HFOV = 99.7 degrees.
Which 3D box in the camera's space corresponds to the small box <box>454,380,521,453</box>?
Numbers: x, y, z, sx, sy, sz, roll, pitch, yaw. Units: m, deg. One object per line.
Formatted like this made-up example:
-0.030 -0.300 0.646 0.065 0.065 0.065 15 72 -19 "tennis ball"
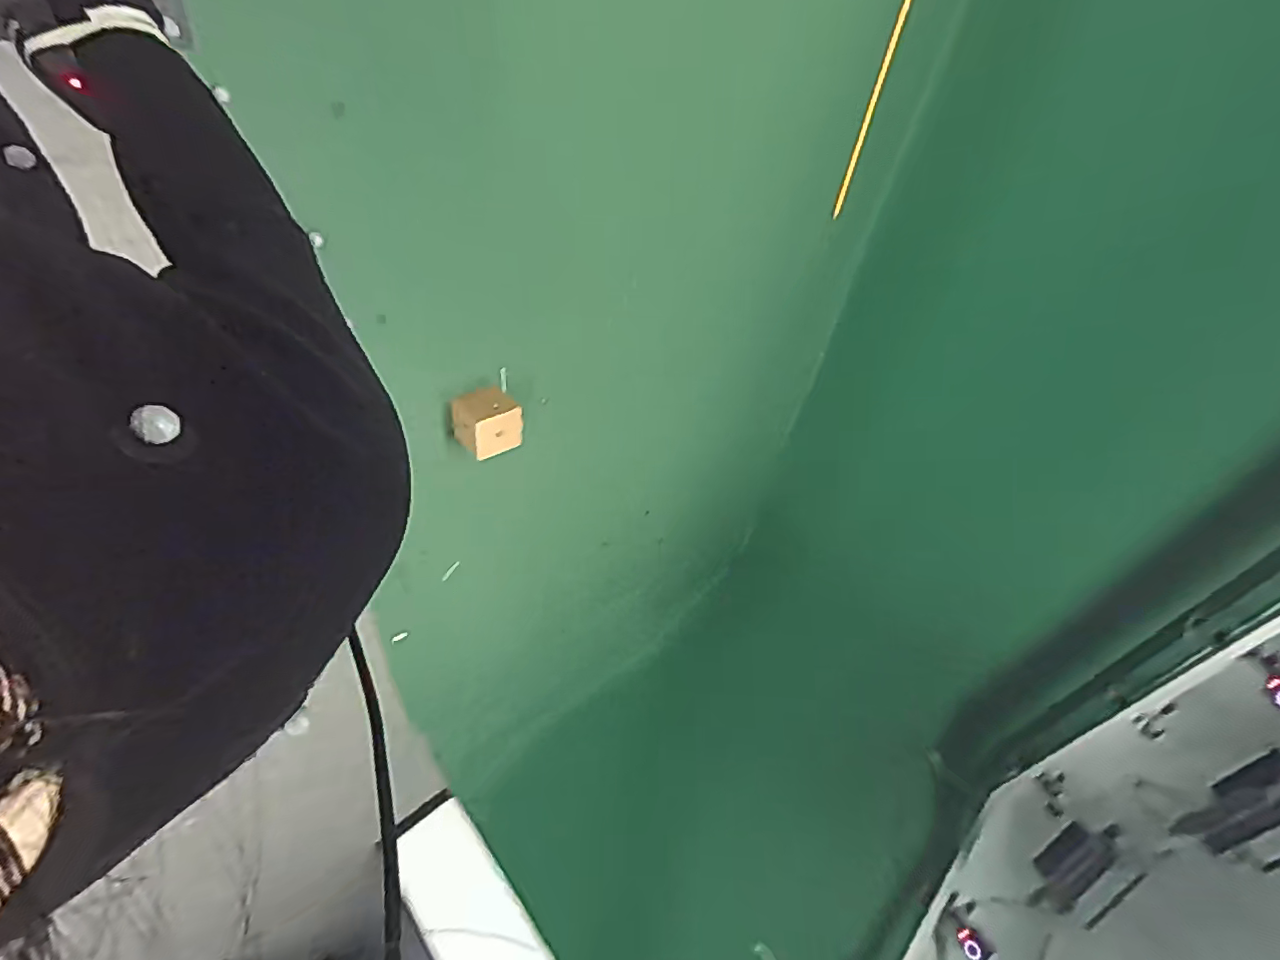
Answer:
-0.537 -0.226 1.894 0.179 0.176 0.168 -28 144 -35 "small box"
